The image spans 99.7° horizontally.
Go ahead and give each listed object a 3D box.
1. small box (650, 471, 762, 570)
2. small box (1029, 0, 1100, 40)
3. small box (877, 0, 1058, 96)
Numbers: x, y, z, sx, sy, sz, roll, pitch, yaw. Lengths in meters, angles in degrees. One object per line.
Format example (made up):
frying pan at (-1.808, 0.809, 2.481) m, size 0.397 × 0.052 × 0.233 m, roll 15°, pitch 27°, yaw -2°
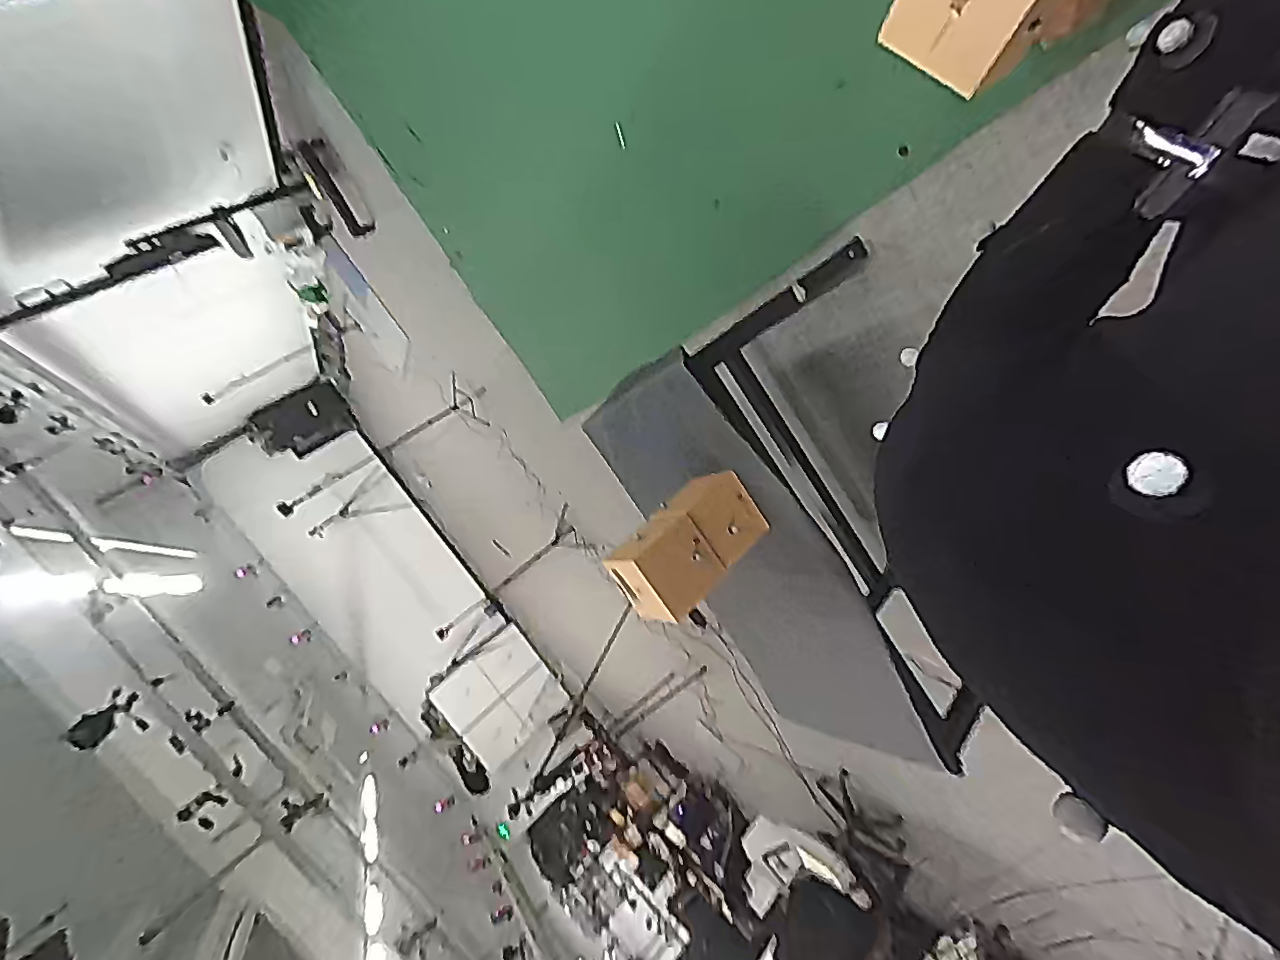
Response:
small box at (0.162, 0.095, 1.274) m, size 0.168 × 0.176 × 0.179 m, roll 55°, pitch 154°, yaw -9°
small box at (0.584, -0.769, 0.795) m, size 0.168 × 0.176 × 0.179 m, roll 26°, pitch 144°, yaw 36°
small box at (0.468, -0.674, 0.728) m, size 0.168 × 0.176 × 0.179 m, roll 43°, pitch 153°, yaw 11°
